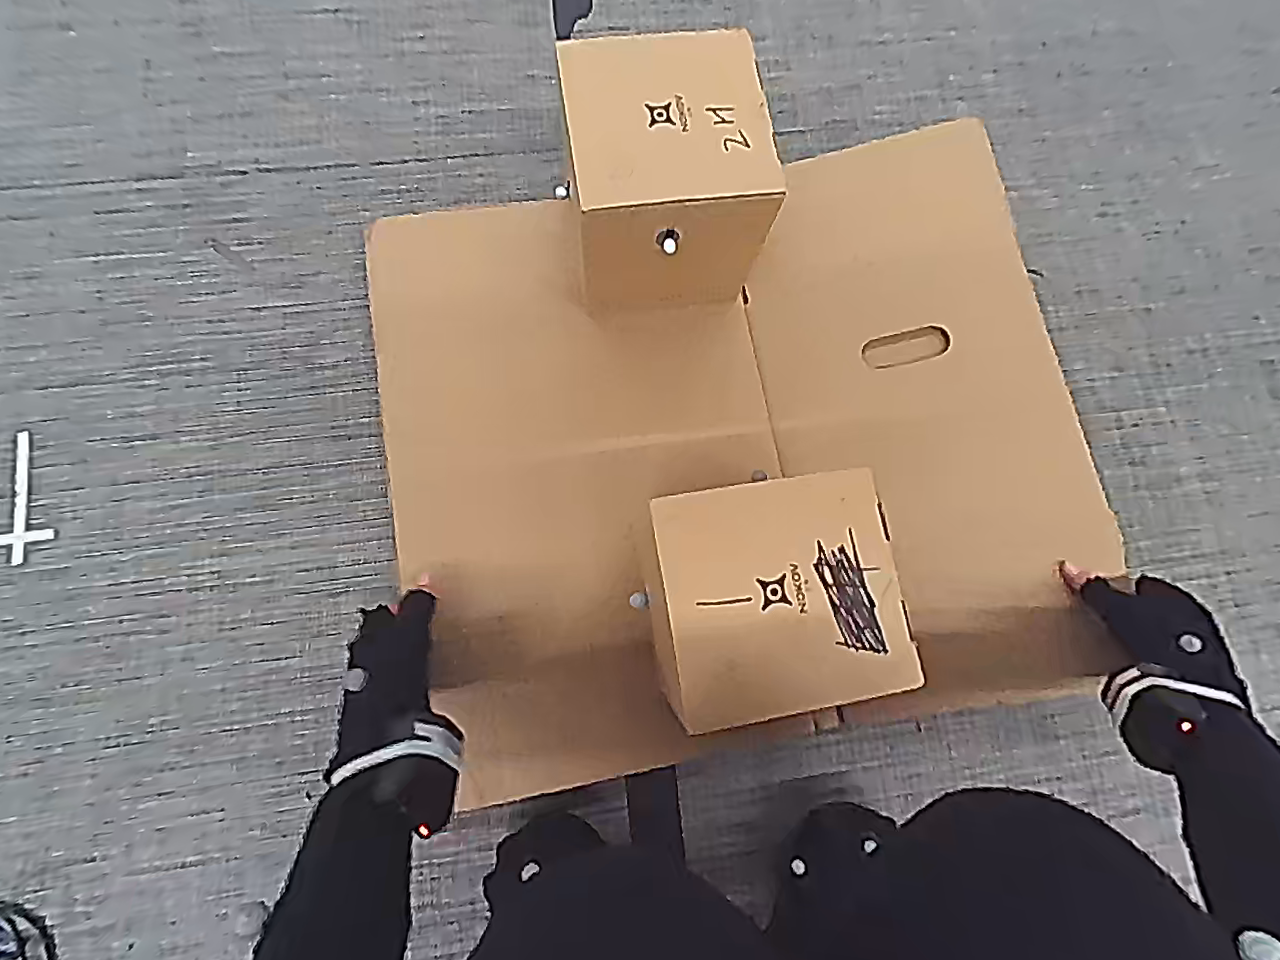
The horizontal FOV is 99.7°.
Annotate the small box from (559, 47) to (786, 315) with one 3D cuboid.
[{"bbox_3d":[0.021,-0.278,0.534,0.179,0.176,0.168,-7,80,-7],"label":"small box"}]

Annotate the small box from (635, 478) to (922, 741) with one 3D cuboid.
[{"bbox_3d":[0.099,0.102,0.468,0.179,0.176,0.168,-9,80,-7],"label":"small box"}]
